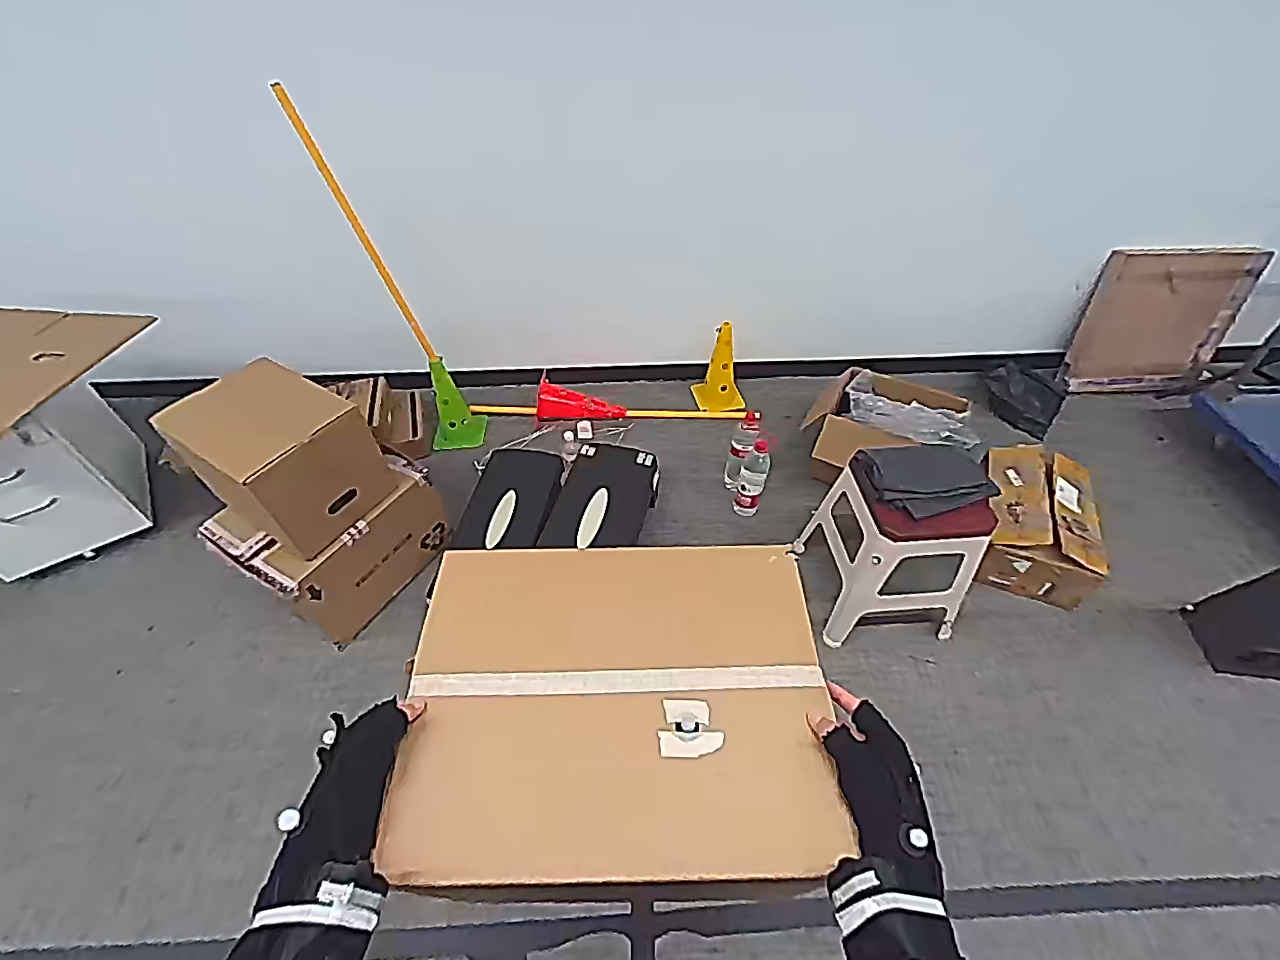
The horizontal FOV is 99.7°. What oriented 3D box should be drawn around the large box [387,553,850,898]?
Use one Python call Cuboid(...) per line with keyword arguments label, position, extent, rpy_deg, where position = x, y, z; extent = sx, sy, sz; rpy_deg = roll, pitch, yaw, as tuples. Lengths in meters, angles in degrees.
Cuboid(label="large box", position=(-0.022, 0.304, 0.664), extent=(0.408, 0.320, 0.320), rpy_deg=(0, 51, -1))
